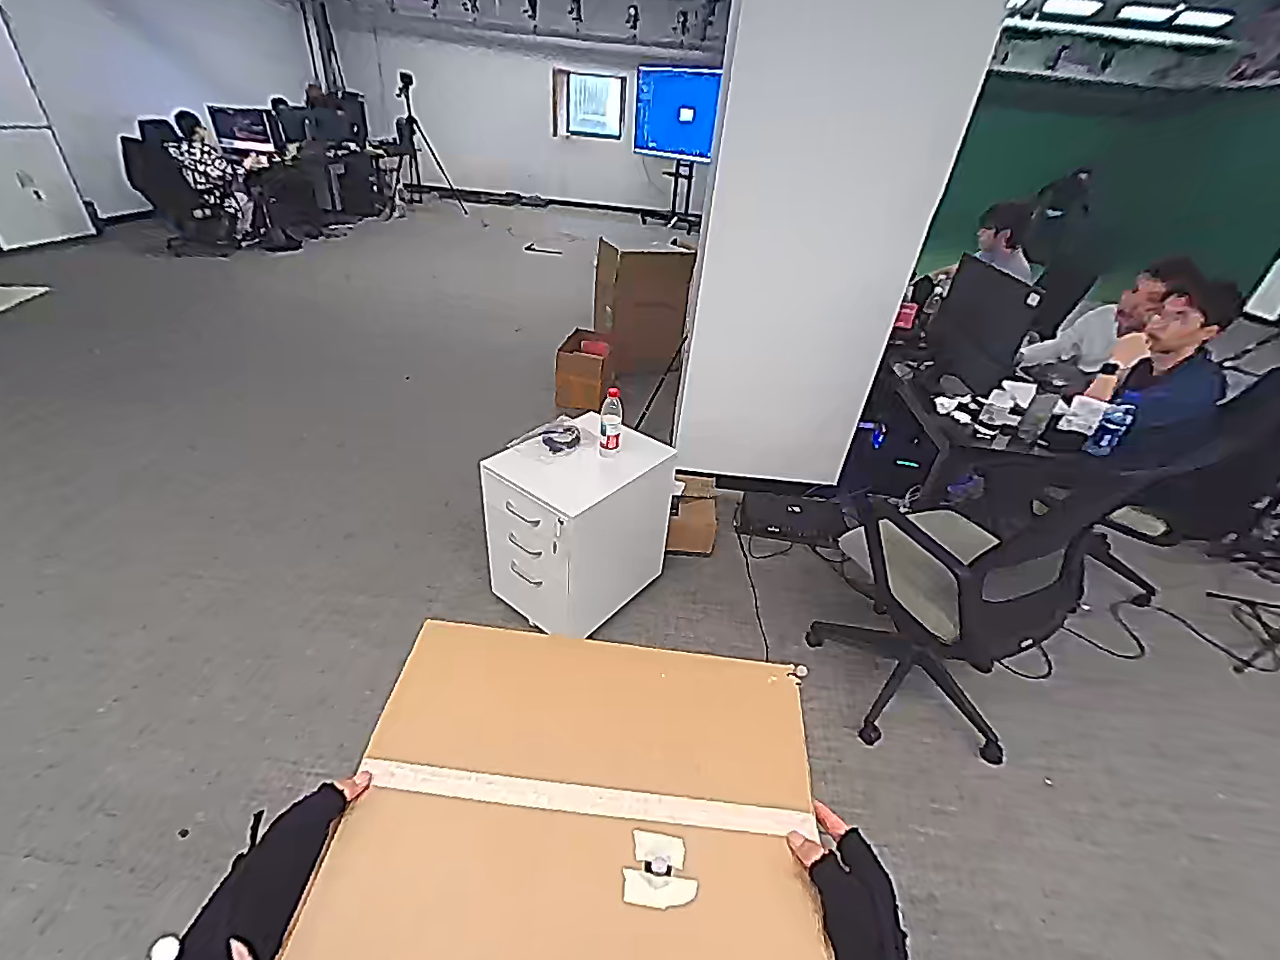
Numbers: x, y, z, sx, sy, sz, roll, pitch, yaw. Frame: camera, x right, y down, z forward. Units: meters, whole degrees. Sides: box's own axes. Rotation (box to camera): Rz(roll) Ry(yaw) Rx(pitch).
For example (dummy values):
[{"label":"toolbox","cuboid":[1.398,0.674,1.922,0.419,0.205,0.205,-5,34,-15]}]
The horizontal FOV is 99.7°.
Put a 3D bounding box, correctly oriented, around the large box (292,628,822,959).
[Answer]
[{"label":"large box","cuboid":[-0.062,0.398,0.587,0.408,0.320,0.320,8,43,1]}]
